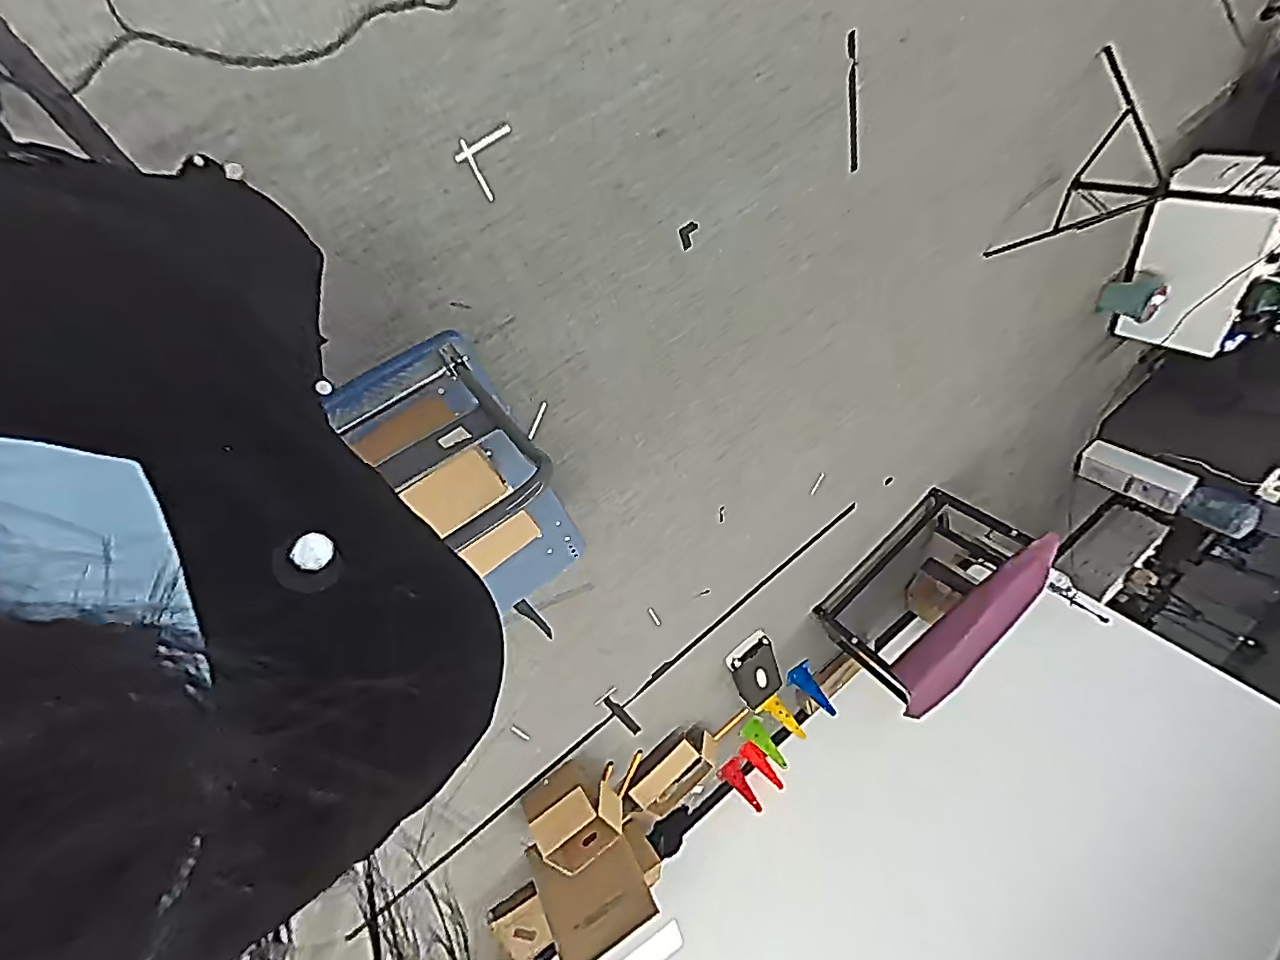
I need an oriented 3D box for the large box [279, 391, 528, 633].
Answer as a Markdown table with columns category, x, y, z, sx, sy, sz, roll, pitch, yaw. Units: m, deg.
| category | x | y | z | sx | sy | sz | roll | pitch | yaw |
| --- | --- | --- | --- | --- | --- | --- | --- | --- | --- |
| large box | -0.548 | 0.064 | 1.270 | 0.408 | 0.320 | 0.320 | -37 | 133 | -10 |
